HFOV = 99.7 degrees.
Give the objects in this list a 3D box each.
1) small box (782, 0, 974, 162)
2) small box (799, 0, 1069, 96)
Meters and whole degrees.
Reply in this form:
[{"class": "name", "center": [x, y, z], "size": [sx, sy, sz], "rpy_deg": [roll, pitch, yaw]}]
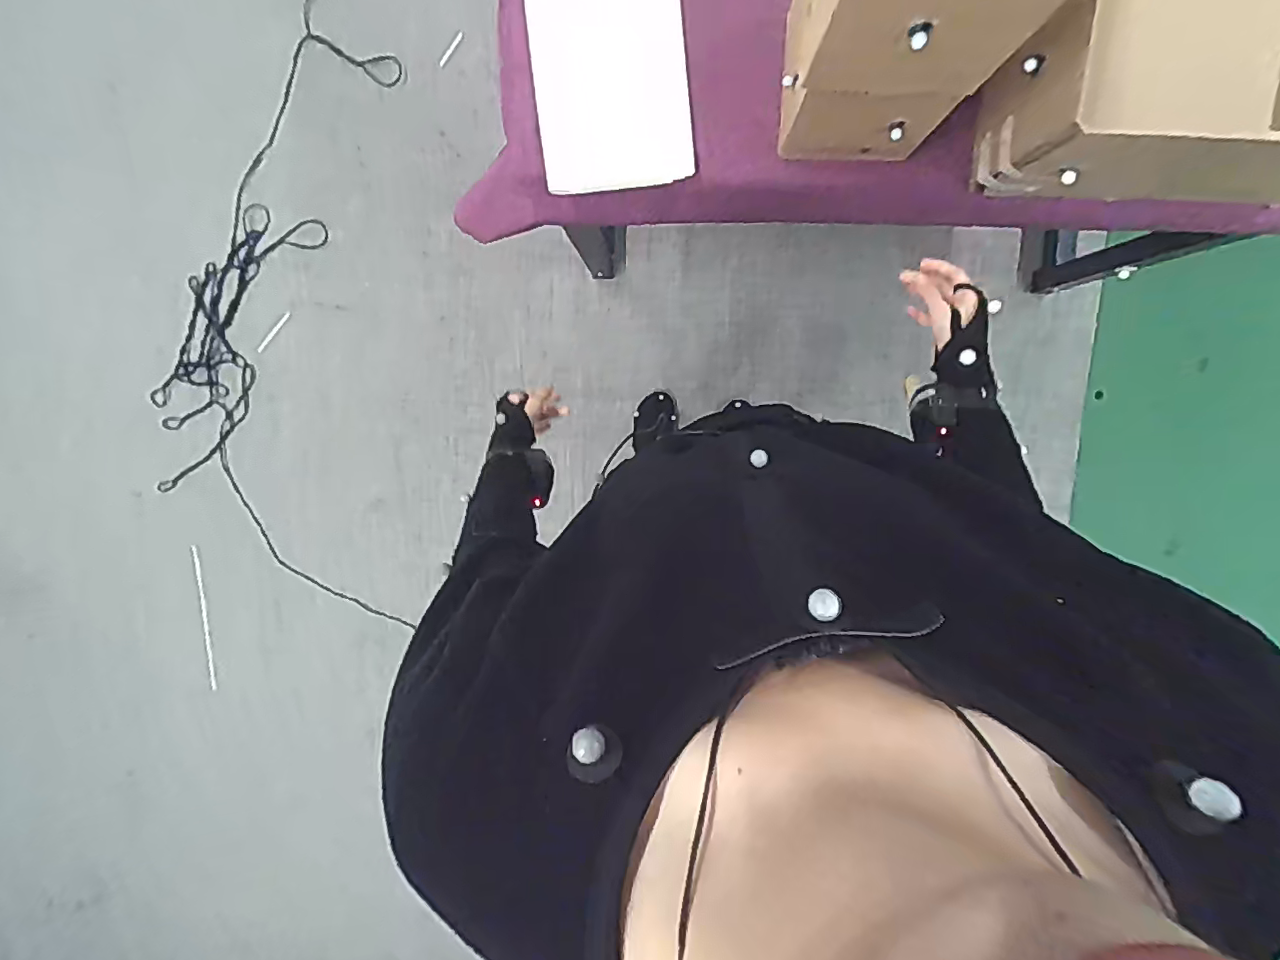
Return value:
[{"class": "small box", "center": [0.264, -0.488, 0.615], "size": [0.168, 0.176, 0.179], "rpy_deg": [4, 97, 2]}, {"class": "small box", "center": [0.248, -0.457, 0.454], "size": [0.179, 0.176, 0.168], "rpy_deg": [4, 97, 3]}]
